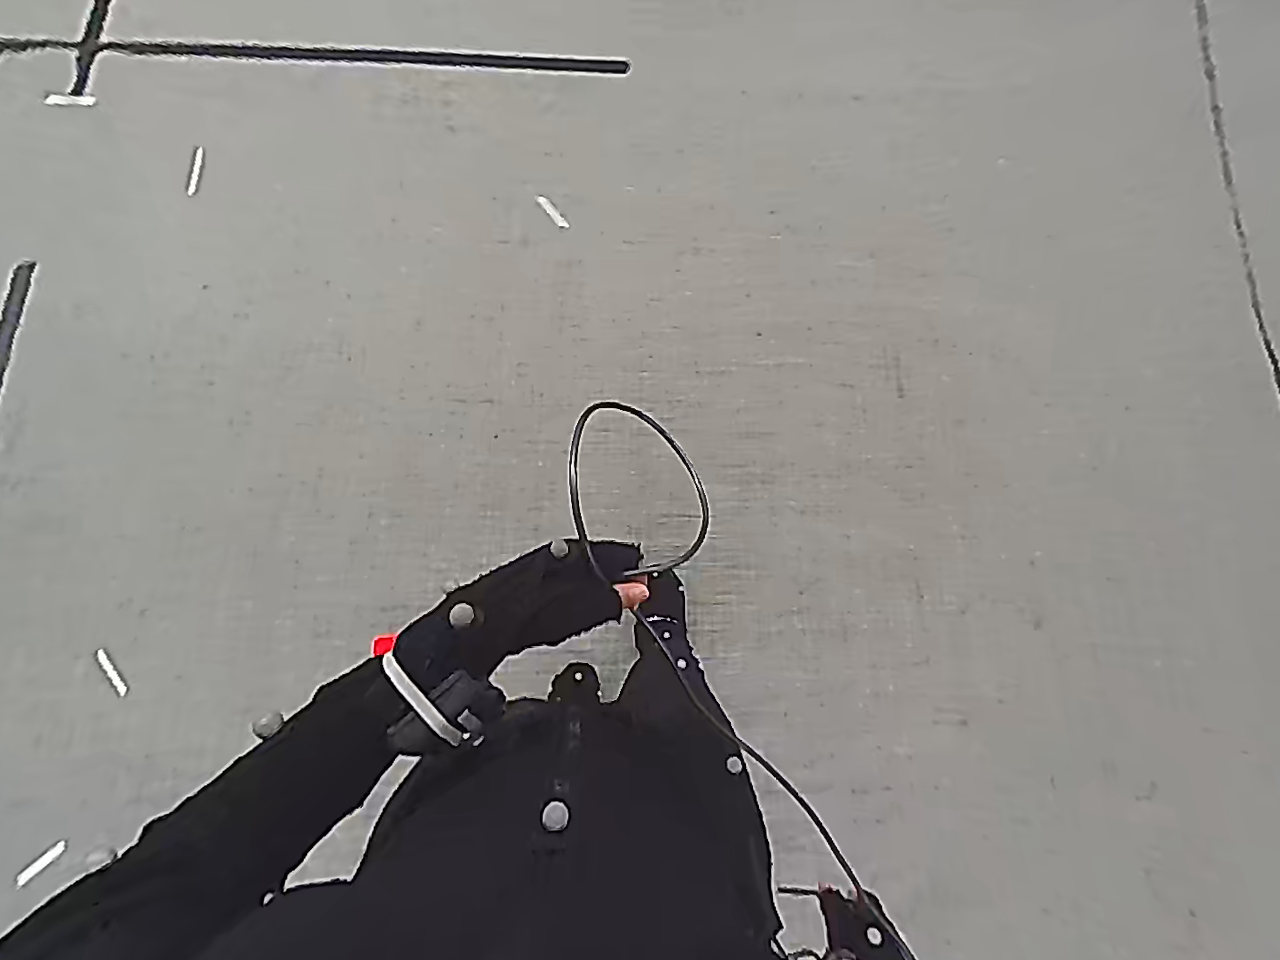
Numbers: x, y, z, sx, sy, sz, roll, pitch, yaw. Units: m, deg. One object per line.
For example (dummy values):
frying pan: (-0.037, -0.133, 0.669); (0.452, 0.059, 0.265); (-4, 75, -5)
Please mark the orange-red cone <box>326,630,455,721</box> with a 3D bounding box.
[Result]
orange-red cone: (-0.527, 0.415, 1.095); (0.198, 0.360, 0.199); (-3, 77, -3)
